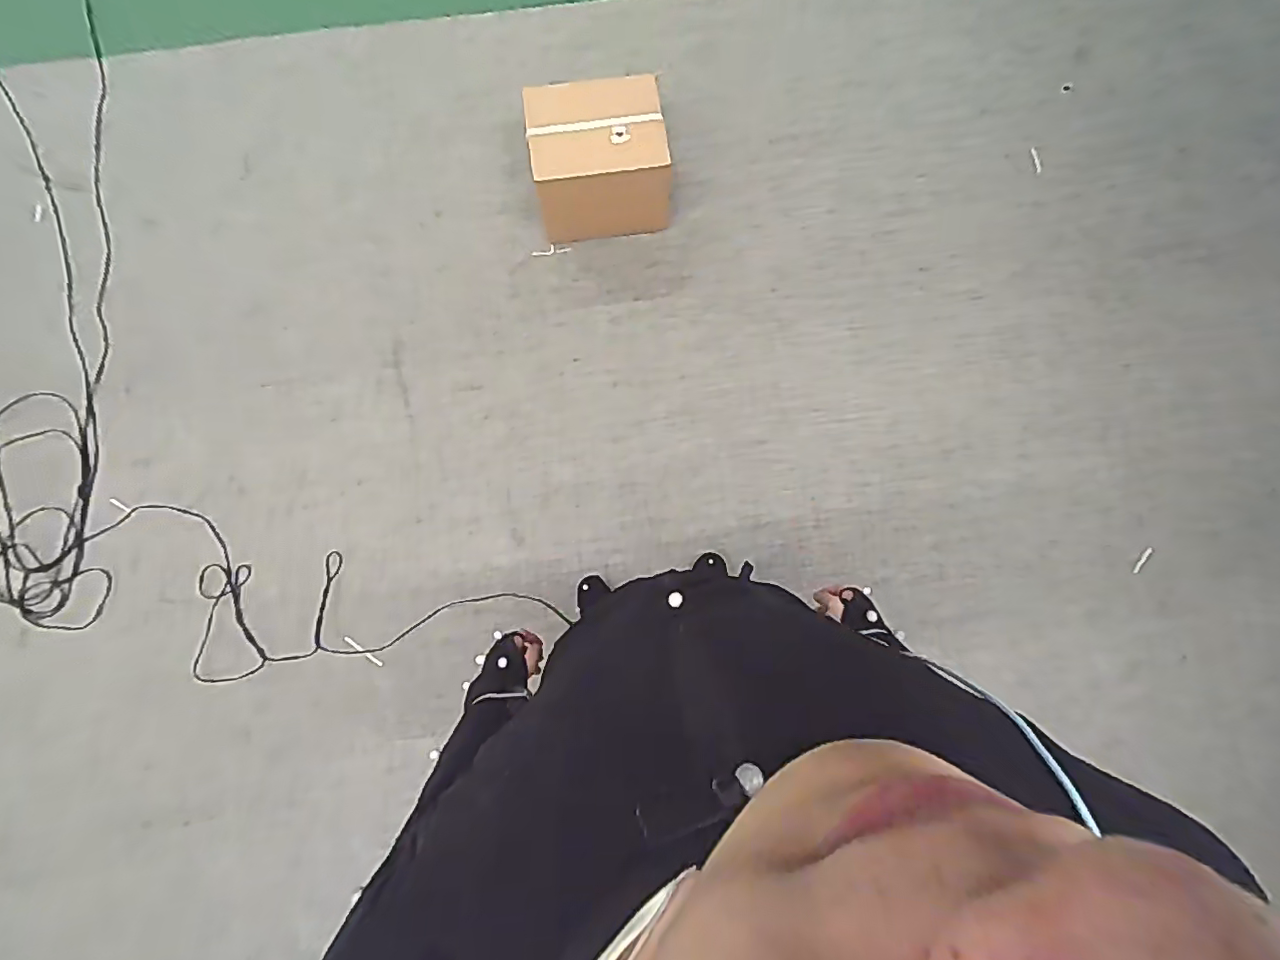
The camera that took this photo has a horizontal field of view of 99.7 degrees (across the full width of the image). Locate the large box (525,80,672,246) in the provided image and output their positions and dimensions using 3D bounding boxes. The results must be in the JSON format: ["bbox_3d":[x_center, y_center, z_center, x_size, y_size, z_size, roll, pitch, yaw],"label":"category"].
[{"bbox_3d":[-0.128,-0.997,1.734,0.408,0.320,0.320,-8,80,-3],"label":"large box"}]
